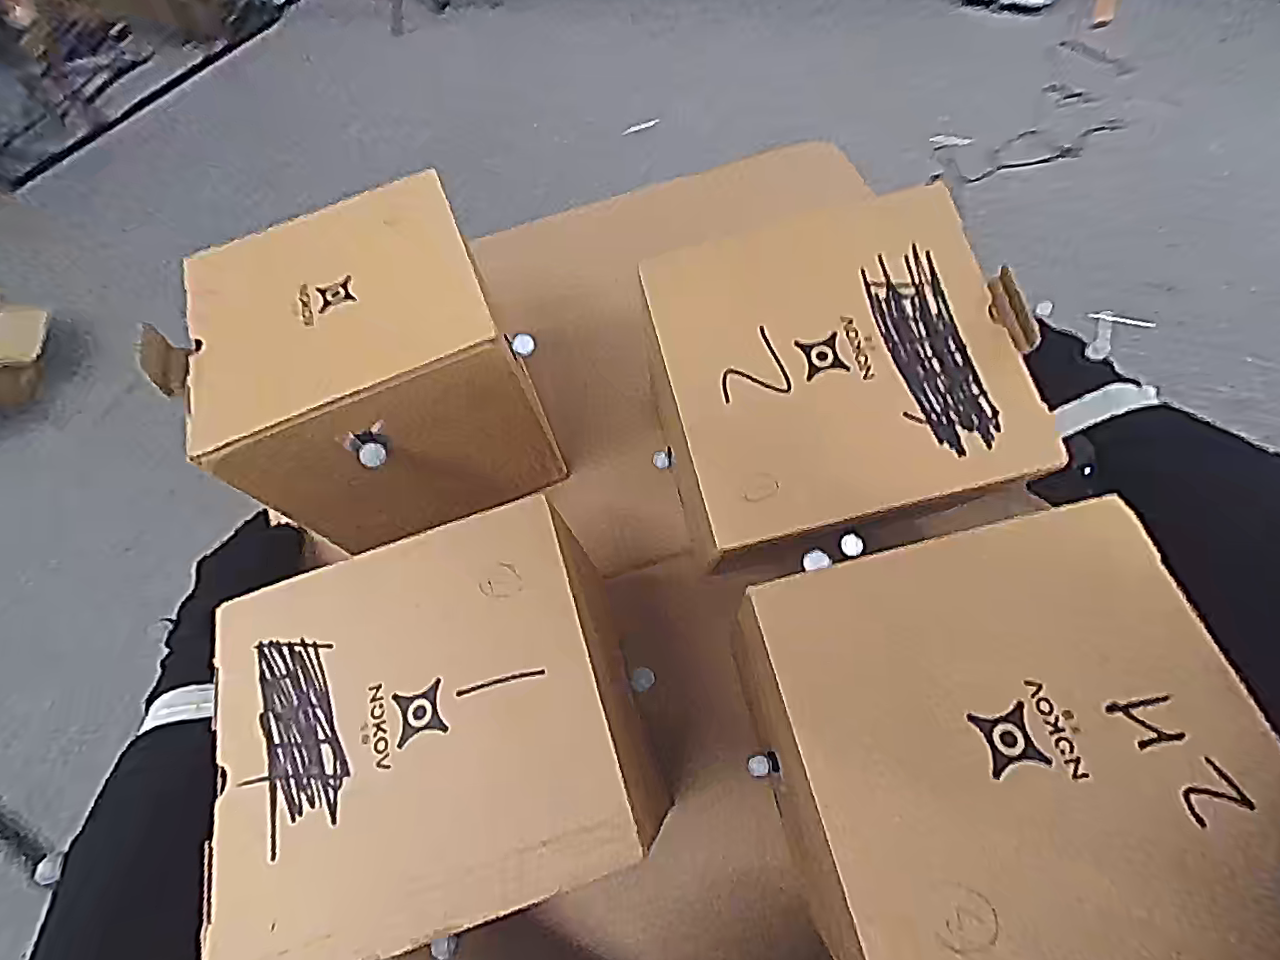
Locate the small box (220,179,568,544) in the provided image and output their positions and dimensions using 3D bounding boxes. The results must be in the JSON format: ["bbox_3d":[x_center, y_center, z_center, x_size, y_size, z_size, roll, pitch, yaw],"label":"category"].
[{"bbox_3d":[-0.165,-0.076,0.405,0.179,0.176,0.168,-22,63,-3],"label":"small box"}]
